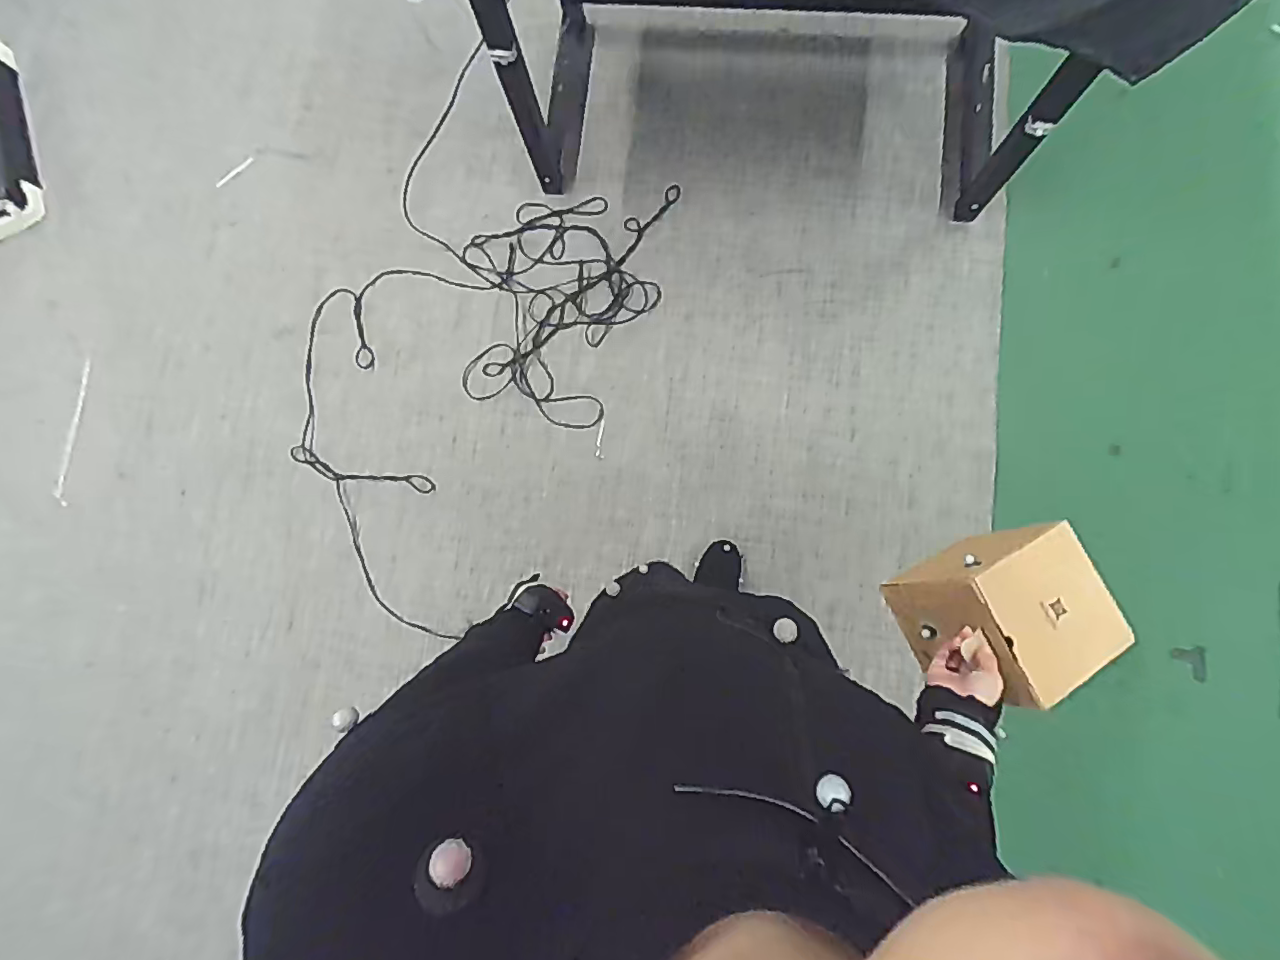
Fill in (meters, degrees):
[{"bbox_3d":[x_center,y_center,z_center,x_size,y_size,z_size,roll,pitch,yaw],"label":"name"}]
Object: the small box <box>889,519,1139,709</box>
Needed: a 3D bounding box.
[{"bbox_3d":[0.472,0.168,0.708,0.179,0.176,0.168,-24,82,-17],"label":"small box"}]
